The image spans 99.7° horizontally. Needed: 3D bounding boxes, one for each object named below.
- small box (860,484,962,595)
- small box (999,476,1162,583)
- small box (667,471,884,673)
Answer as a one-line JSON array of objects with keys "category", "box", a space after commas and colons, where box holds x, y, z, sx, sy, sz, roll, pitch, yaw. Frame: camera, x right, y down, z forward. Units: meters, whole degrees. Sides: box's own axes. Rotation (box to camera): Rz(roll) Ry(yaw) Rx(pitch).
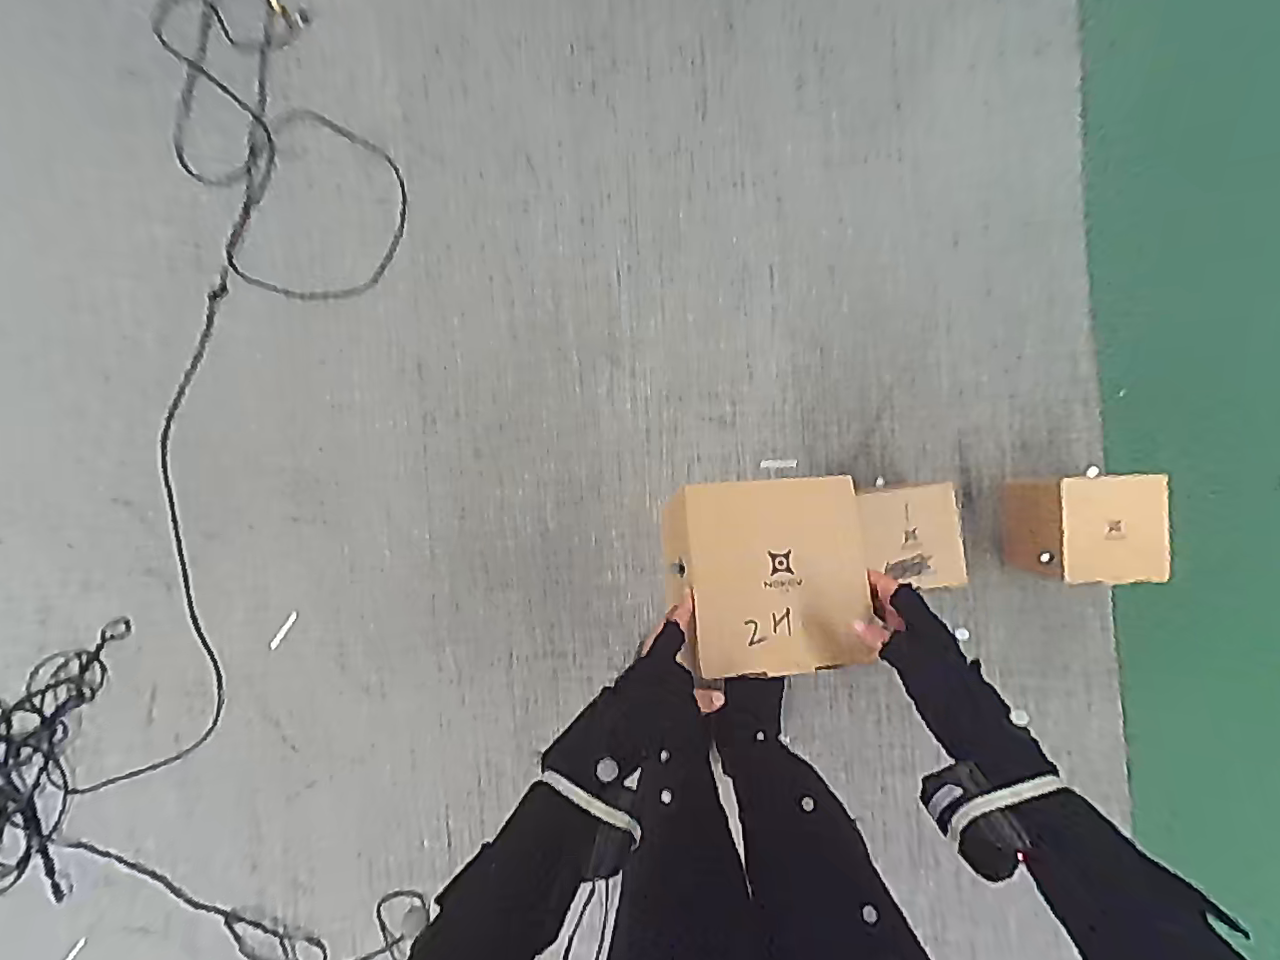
[{"category": "small box", "box": [0.457, 0.103, 0.994, 0.168, 0.176, 0.179, -8, 88, 3]}, {"category": "small box", "box": [0.780, 0.084, 0.975, 0.168, 0.176, 0.179, -2, 90, 4]}, {"category": "small box", "box": [0.124, 0.095, 0.567, 0.168, 0.176, 0.179, -3, 79, -6]}]
